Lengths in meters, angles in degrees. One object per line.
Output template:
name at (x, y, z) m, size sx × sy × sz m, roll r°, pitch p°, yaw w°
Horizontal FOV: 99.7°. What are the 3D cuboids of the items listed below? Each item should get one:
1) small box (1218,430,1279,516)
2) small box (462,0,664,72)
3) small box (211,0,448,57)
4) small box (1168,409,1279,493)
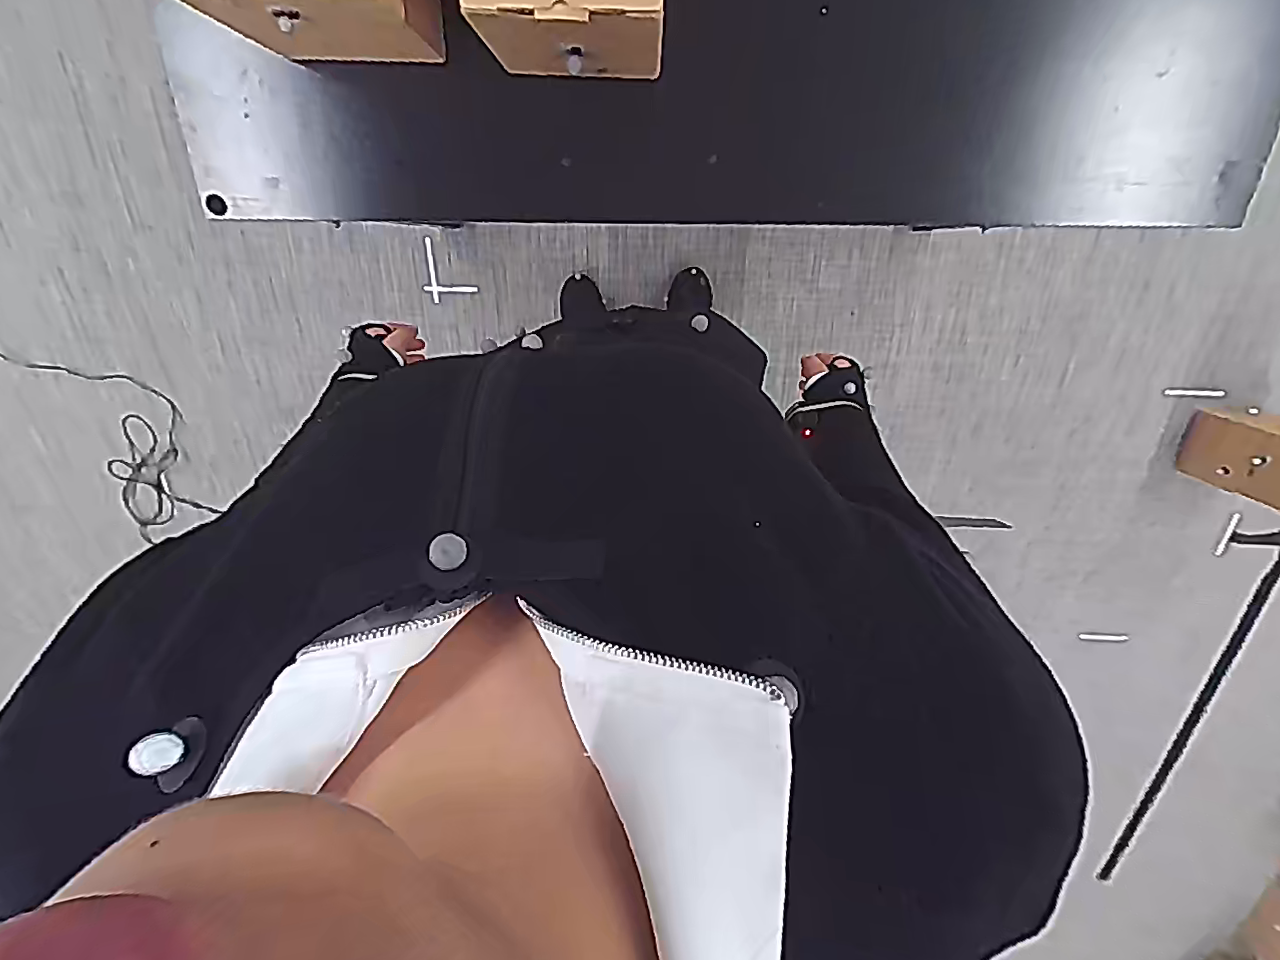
small box at (1.546, -0.016, 1.264) m, size 0.179 × 0.176 × 0.168 m, roll 1°, pitch 112°, yaw 2°
small box at (-0.058, -0.487, 0.476) m, size 0.168 × 0.176 × 0.179 m, roll 2°, pitch 114°, yaw -1°
small box at (-0.290, -0.498, 0.475) m, size 0.179 × 0.176 × 0.168 m, roll 1°, pitch 114°, yaw 0°
small box at (1.554, -0.078, 1.415) m, size 0.168 × 0.176 × 0.179 m, roll 0°, pitch 113°, yaw 1°
